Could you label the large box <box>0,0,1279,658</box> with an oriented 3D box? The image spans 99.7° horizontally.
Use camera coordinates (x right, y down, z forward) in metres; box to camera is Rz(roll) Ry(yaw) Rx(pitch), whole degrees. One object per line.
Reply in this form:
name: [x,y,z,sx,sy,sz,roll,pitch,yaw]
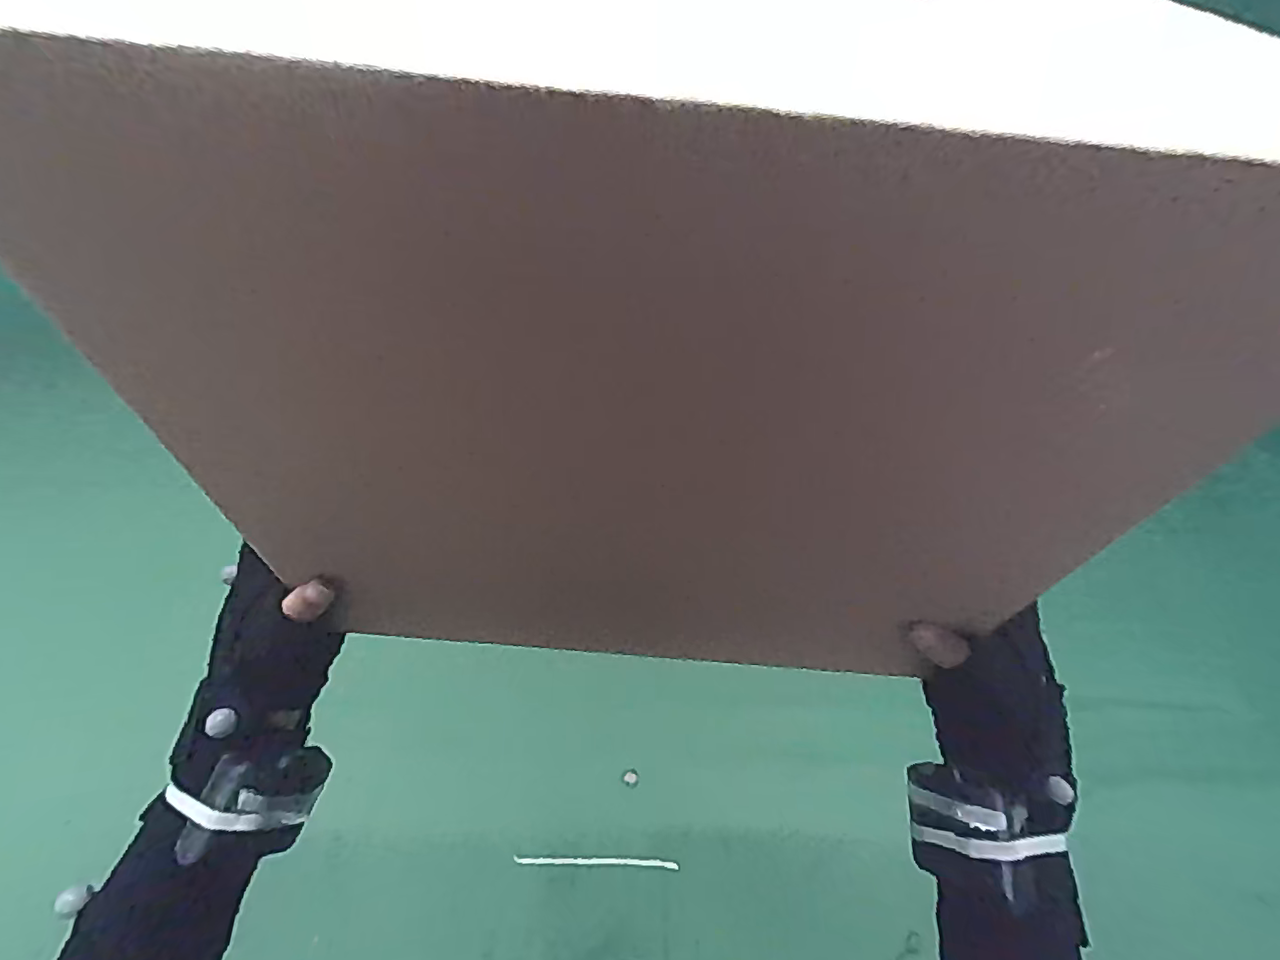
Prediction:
large box: [0.020,-0.101,0.342,0.408,0.320,0.320,5,50,-3]
